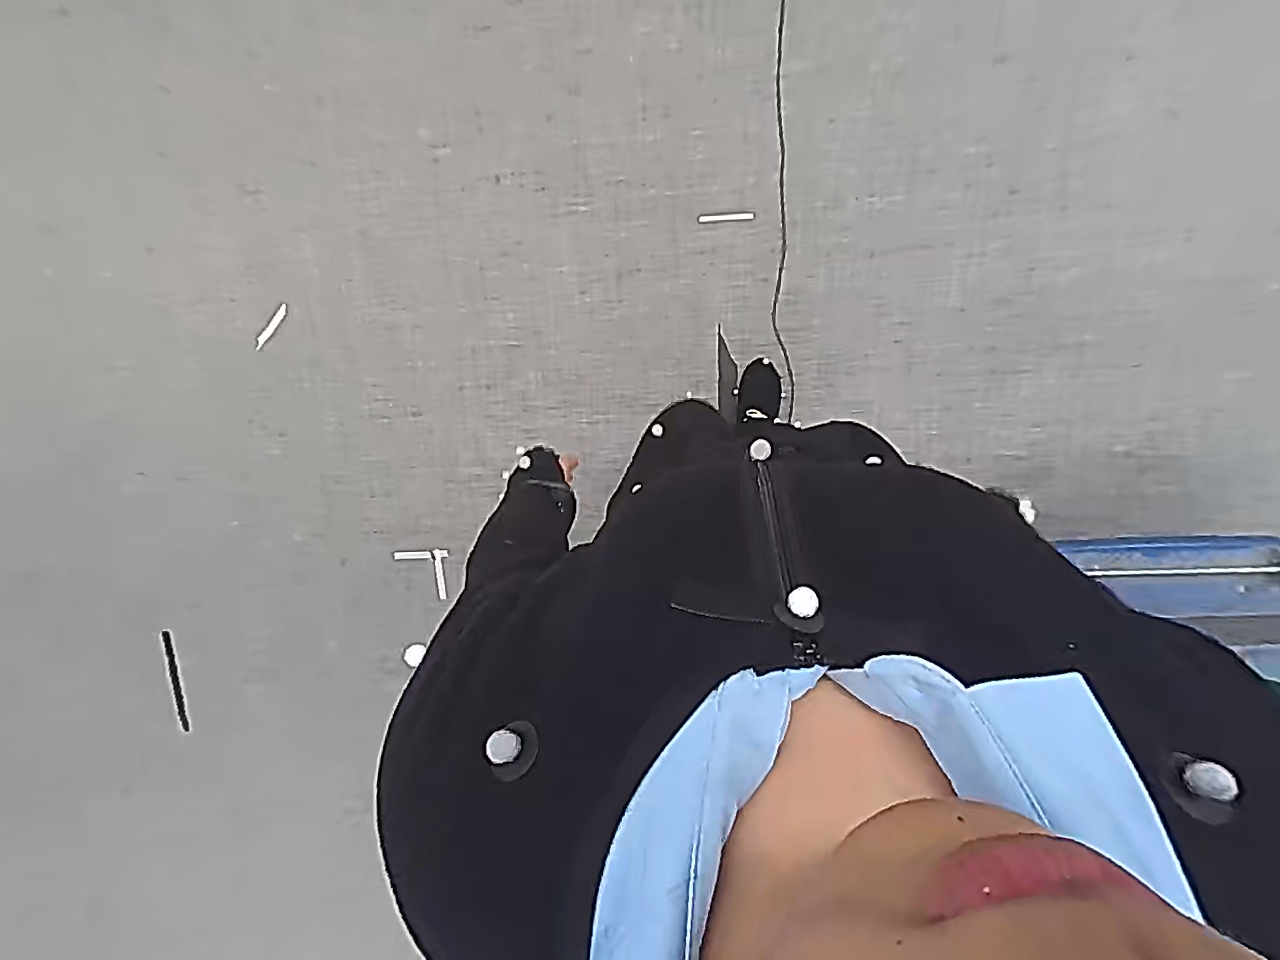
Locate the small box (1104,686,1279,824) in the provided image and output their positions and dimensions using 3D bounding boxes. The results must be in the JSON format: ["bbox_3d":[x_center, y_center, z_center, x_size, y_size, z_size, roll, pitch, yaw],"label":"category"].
[{"bbox_3d":[1.039,0.510,1.023,0.179,0.176,0.168,0,99,8],"label":"small box"}]

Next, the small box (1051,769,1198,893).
[{"bbox_3d":[1.087,0.787,1.228,0.179,0.176,0.168,1,99,7],"label":"small box"}]
